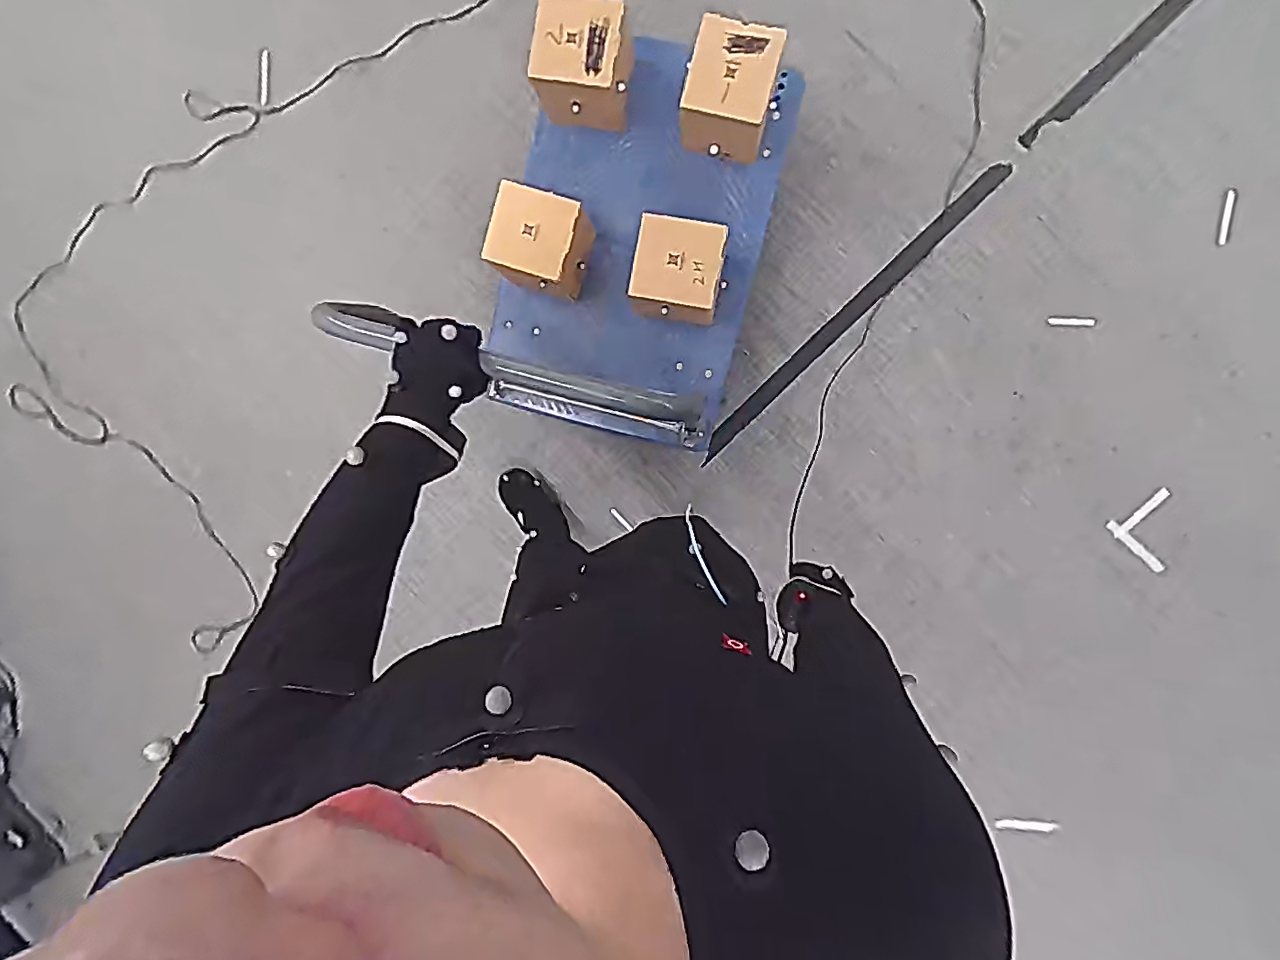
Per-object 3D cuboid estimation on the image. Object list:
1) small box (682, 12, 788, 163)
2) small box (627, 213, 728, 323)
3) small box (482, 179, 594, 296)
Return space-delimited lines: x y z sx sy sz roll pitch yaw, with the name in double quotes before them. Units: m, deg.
"small box" 0.188 -0.797 1.115 0.168 0.176 0.179 17 98 5
"small box" 0.083 -0.445 1.159 0.179 0.176 0.168 12 97 5
"small box" -0.216 -0.520 1.187 0.179 0.176 0.168 18 96 3
